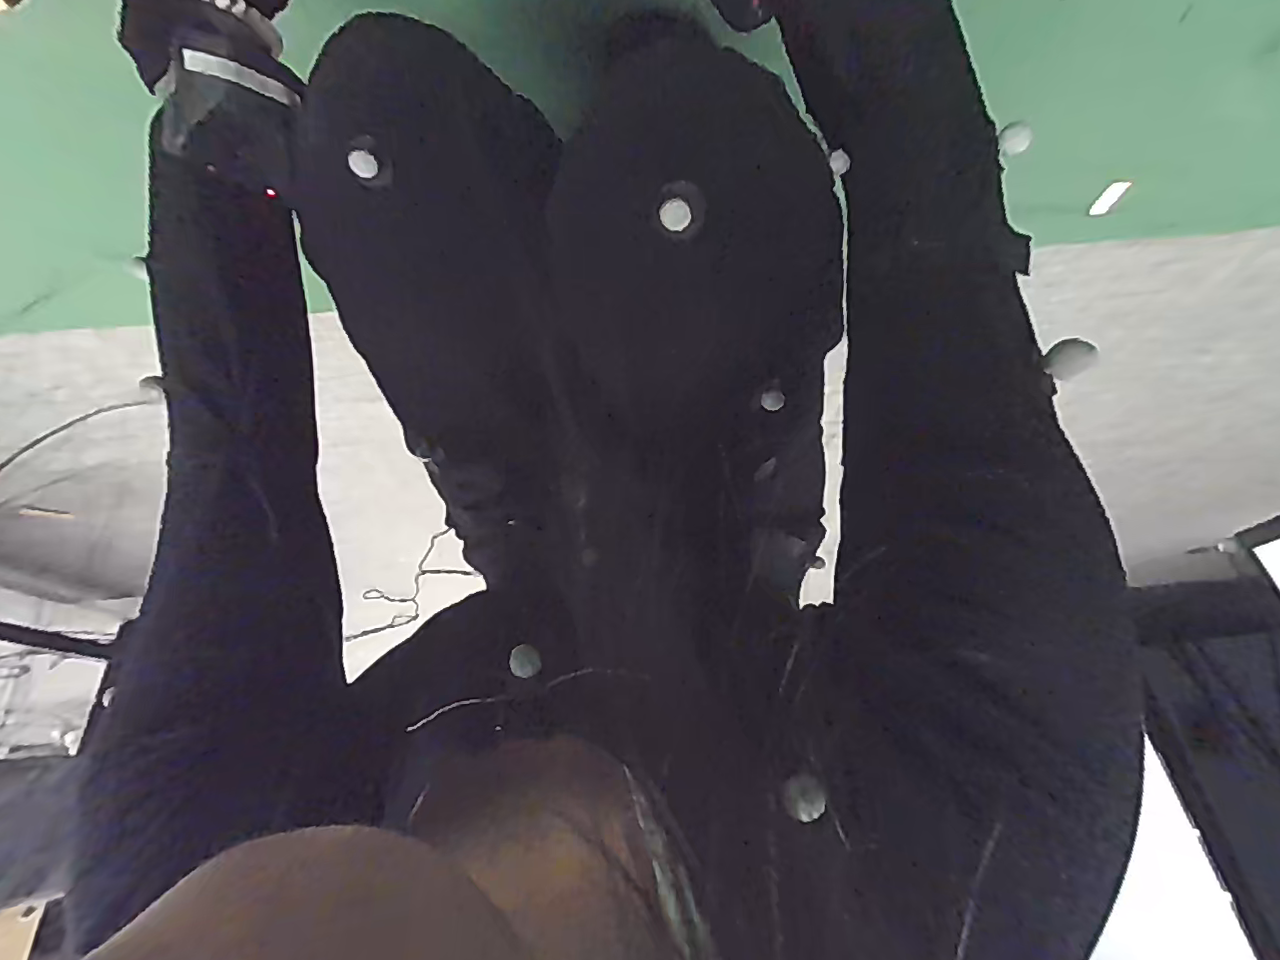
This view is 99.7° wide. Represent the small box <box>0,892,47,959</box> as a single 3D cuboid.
[{"bbox_3d":[-1.362,0.946,1.080,0.179,0.176,0.168,-5,152,-1],"label":"small box"}]
